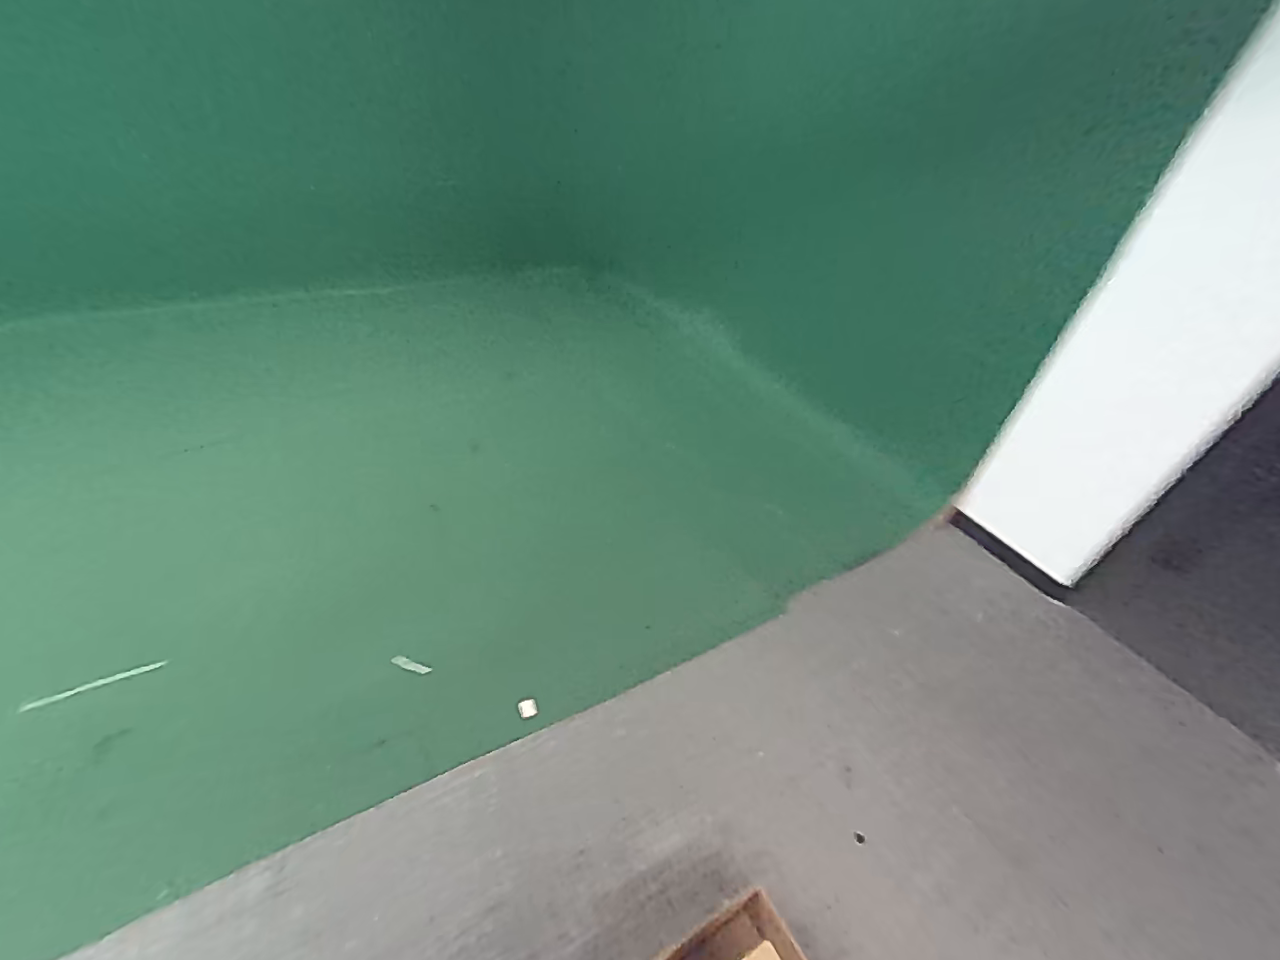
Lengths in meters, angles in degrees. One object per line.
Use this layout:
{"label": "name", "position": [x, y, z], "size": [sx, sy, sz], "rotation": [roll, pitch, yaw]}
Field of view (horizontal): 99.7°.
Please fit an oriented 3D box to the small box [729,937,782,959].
{"label": "small box", "position": [0.166, 0.879, 0.857], "size": [0.179, 0.176, 0.168], "rotation": [-17, 48, -25]}
